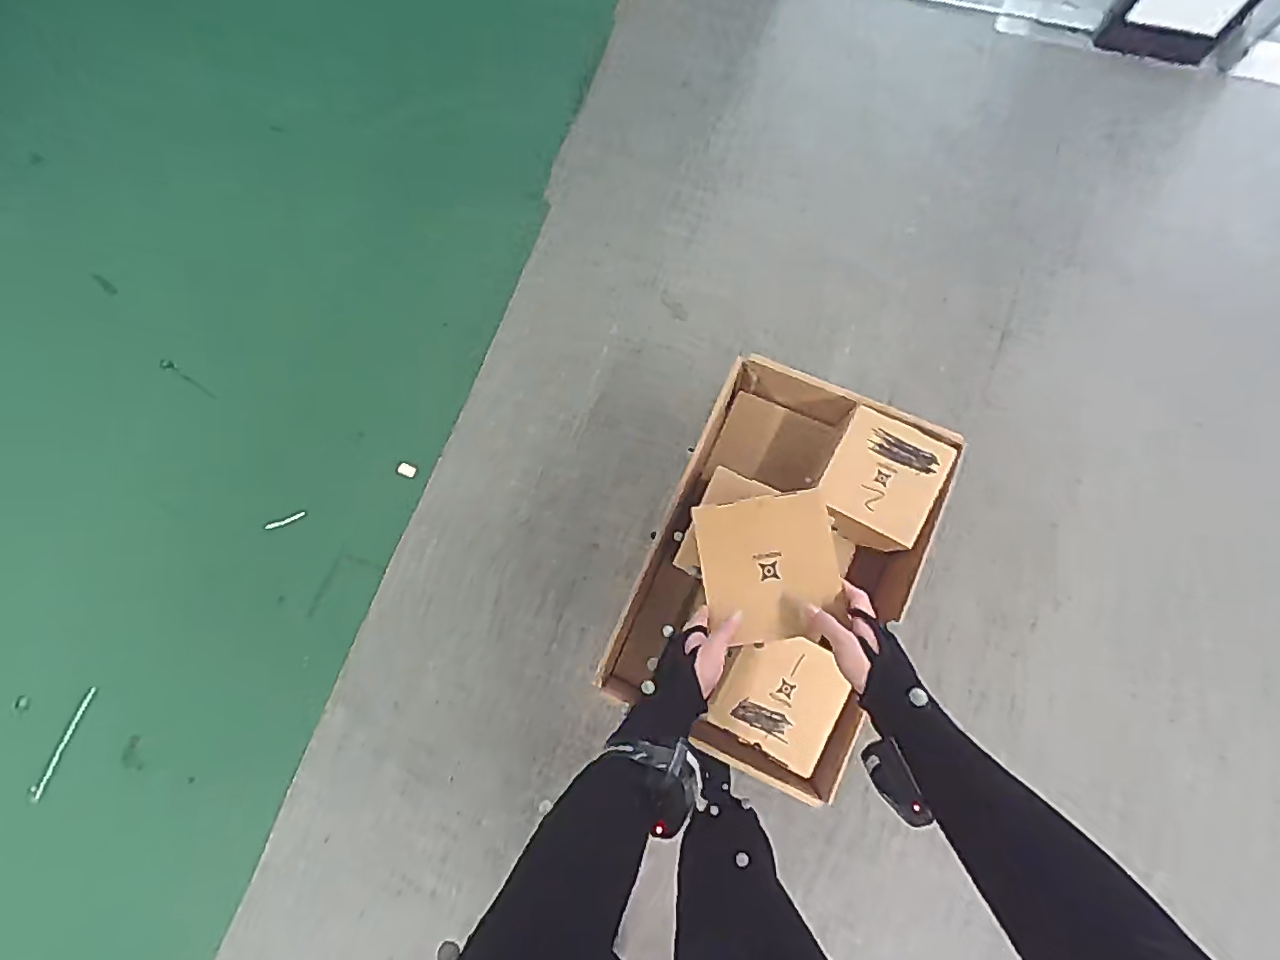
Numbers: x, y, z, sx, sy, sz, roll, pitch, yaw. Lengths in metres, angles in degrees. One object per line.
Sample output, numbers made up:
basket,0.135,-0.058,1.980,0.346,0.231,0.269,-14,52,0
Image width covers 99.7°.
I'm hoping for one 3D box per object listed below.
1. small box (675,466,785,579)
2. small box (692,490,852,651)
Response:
small box,0.171,0.100,0.905,0.168,0.176,0.179,25,83,8
small box,0.168,0.122,0.728,0.168,0.176,0.179,-10,77,6
